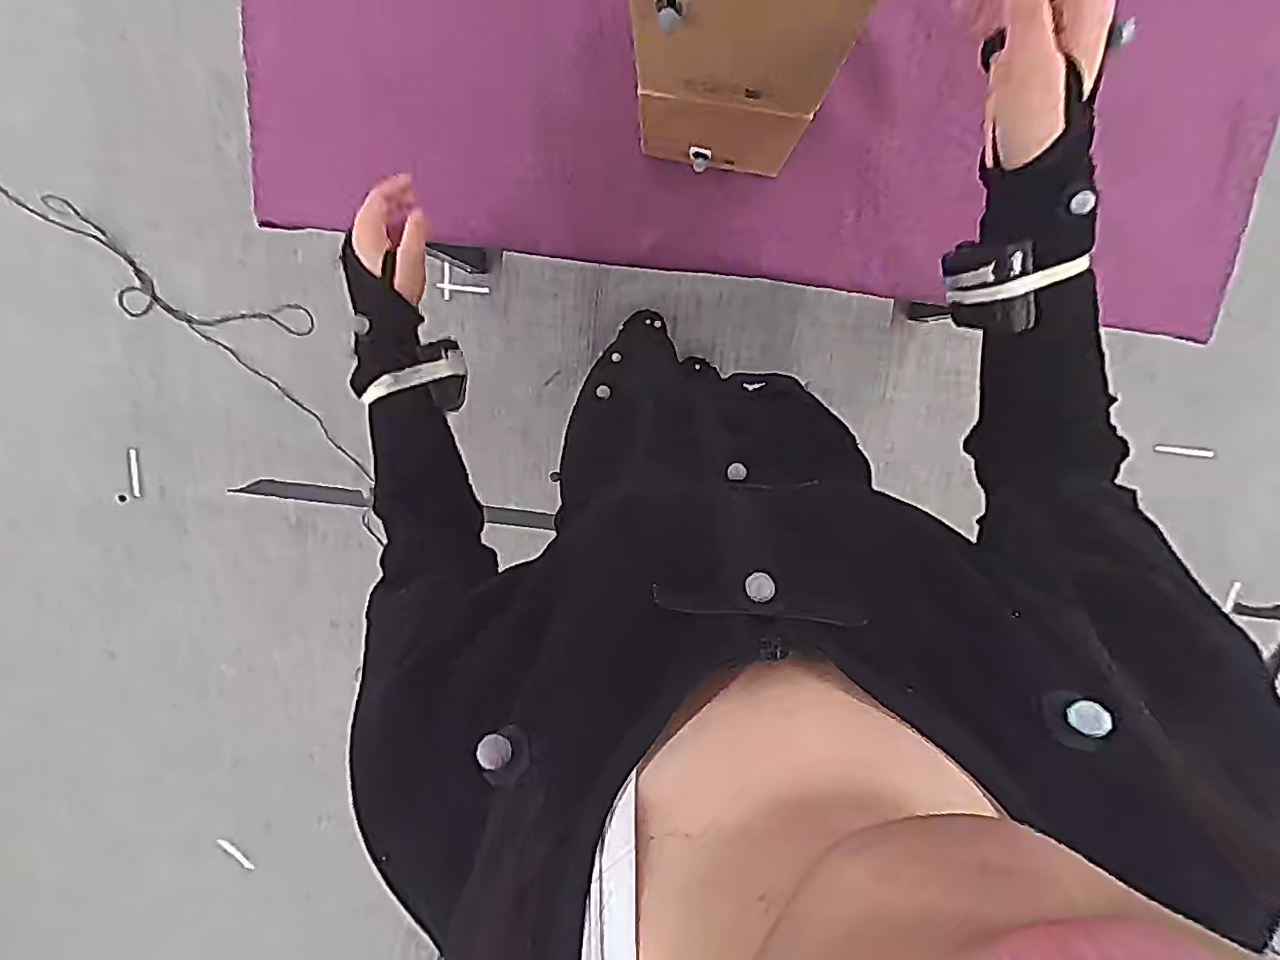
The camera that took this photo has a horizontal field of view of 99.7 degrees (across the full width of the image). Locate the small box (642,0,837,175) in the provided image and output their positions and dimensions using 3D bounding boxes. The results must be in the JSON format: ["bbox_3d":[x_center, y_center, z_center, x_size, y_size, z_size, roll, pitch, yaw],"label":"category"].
[{"bbox_3d":[0.096,-0.447,0.558,0.168,0.176,0.179,9,103,0],"label":"small box"}]
